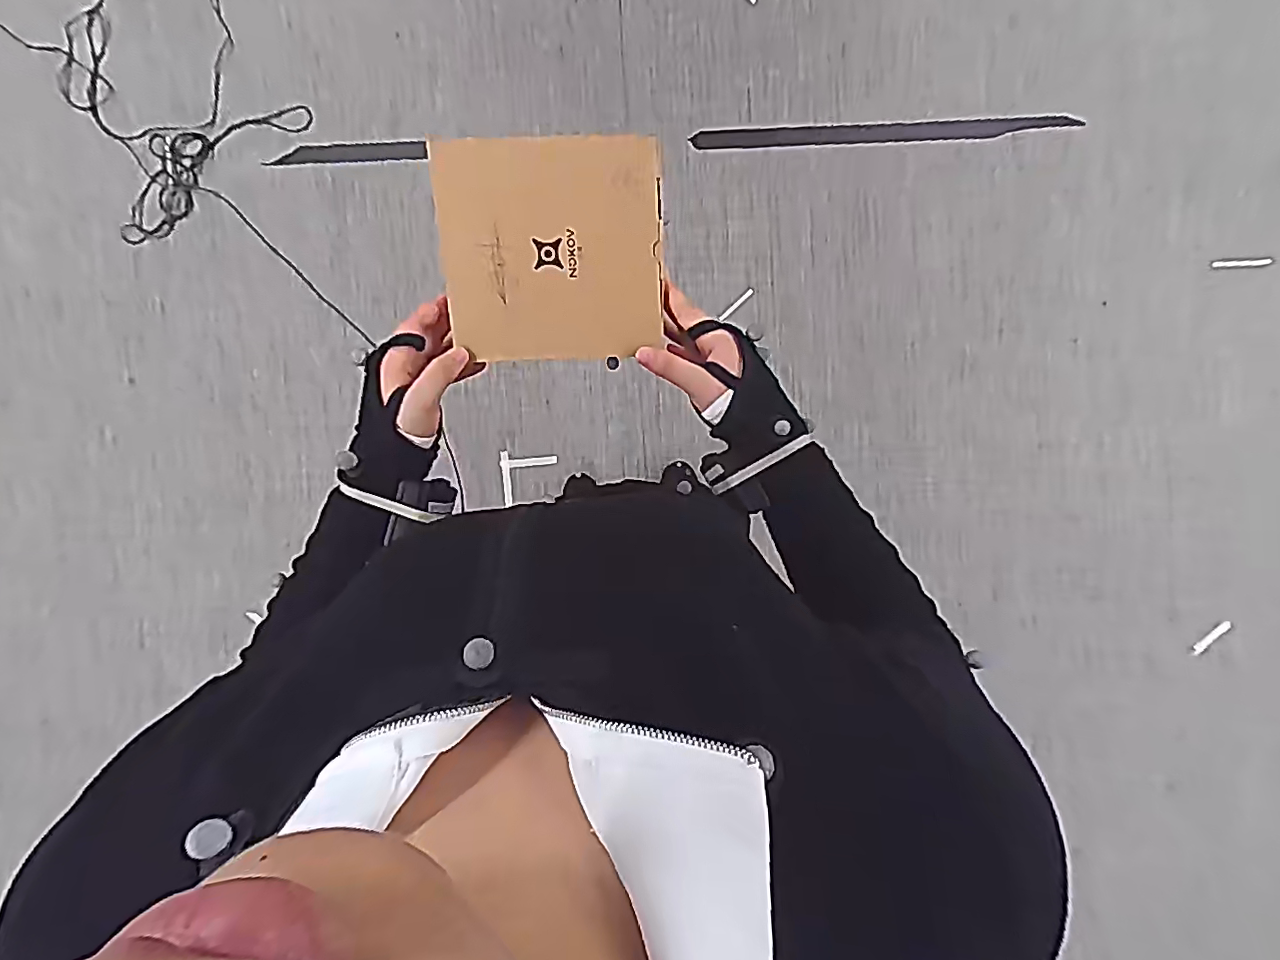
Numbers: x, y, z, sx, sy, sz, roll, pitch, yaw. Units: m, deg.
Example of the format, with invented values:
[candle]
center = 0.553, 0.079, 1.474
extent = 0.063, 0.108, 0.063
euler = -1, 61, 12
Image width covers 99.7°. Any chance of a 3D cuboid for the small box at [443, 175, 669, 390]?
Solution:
[small box]
center = -0.070, -0.181, 0.523
extent = 0.179, 0.176, 0.168
euler = -4, 105, -2
